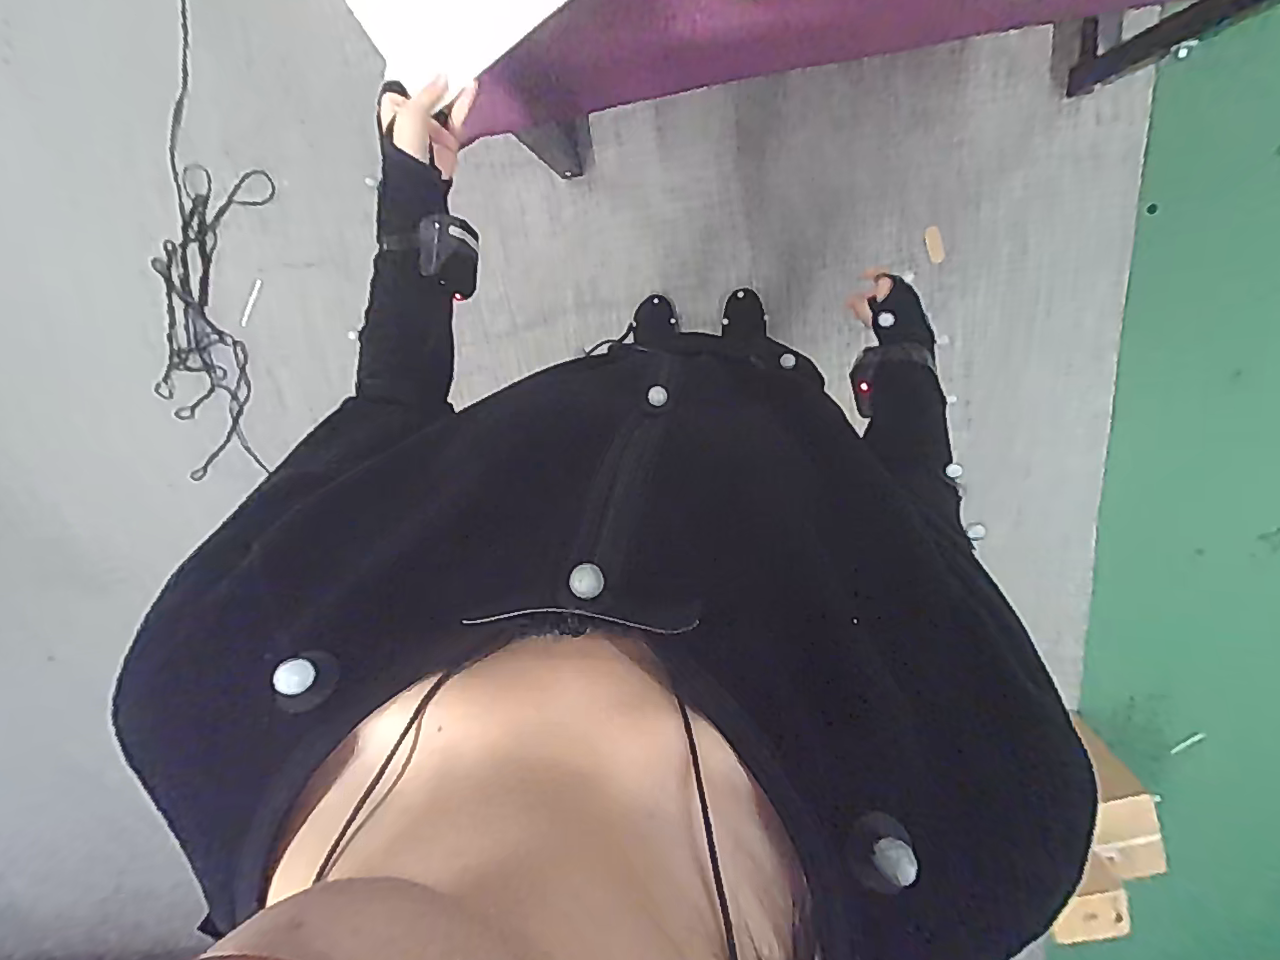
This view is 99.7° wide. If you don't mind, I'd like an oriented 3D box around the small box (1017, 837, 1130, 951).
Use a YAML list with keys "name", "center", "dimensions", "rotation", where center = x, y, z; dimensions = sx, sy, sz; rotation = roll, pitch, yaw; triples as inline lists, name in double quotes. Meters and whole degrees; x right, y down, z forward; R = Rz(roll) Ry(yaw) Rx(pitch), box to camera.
- name: "small box"
  center: [1.125, 1.081, 1.418]
  dimensions: [0.179, 0.176, 0.168]
  rotation: [-16, 107, 10]

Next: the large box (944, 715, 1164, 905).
- name: "large box"
  center: [1.228, 0.988, 1.640]
  dimensions: [0.408, 0.320, 0.320]
  rotation: [-21, 107, 10]
